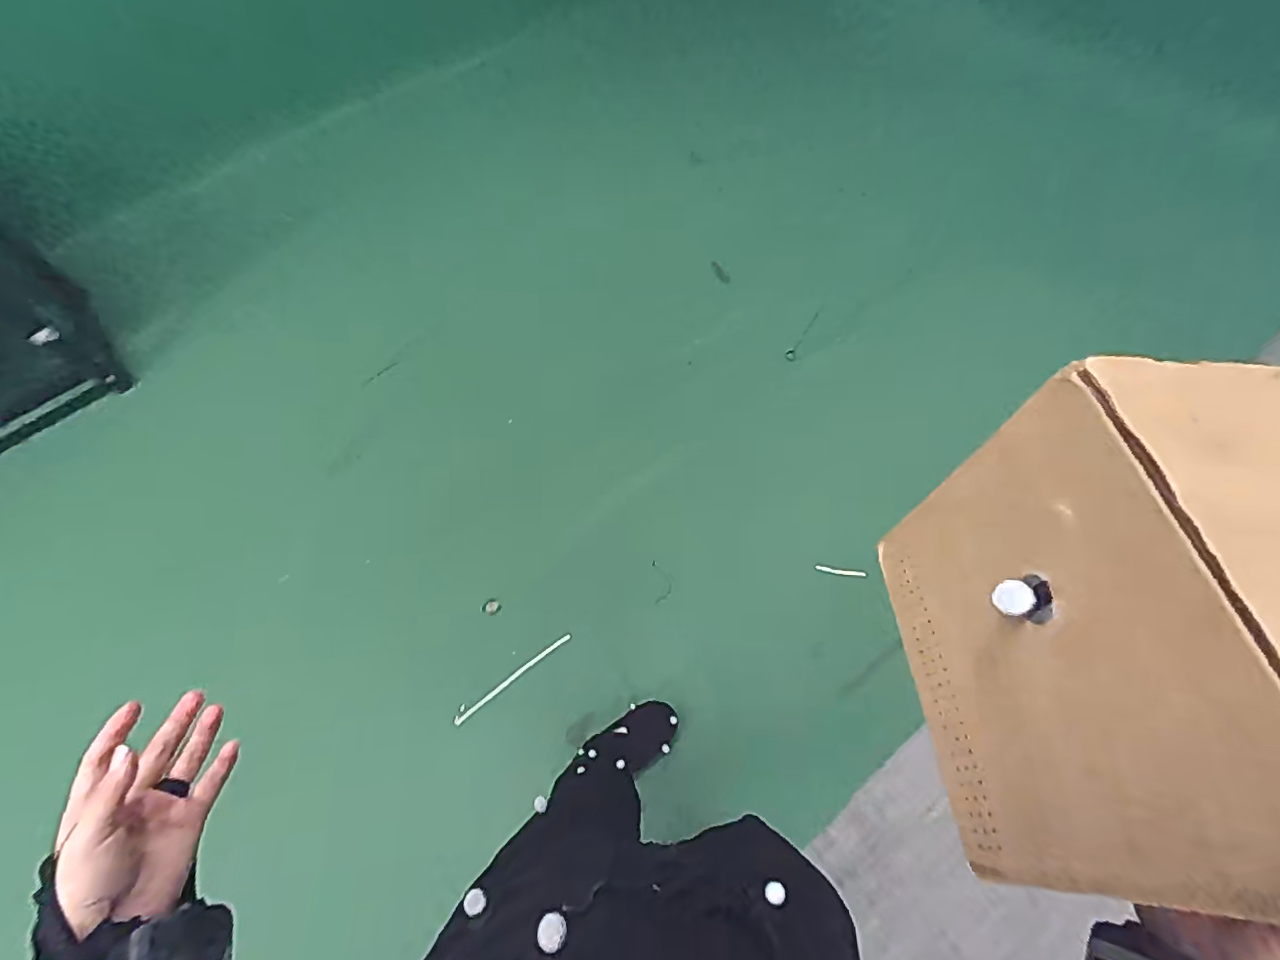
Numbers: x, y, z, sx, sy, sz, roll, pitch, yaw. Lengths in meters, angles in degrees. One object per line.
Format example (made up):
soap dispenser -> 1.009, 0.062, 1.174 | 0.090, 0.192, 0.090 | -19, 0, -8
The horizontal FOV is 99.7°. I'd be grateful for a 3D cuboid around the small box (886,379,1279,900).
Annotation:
small box -> 0.244, 0.077, 0.248 | 0.168, 0.176, 0.179 | 1, 57, -6
